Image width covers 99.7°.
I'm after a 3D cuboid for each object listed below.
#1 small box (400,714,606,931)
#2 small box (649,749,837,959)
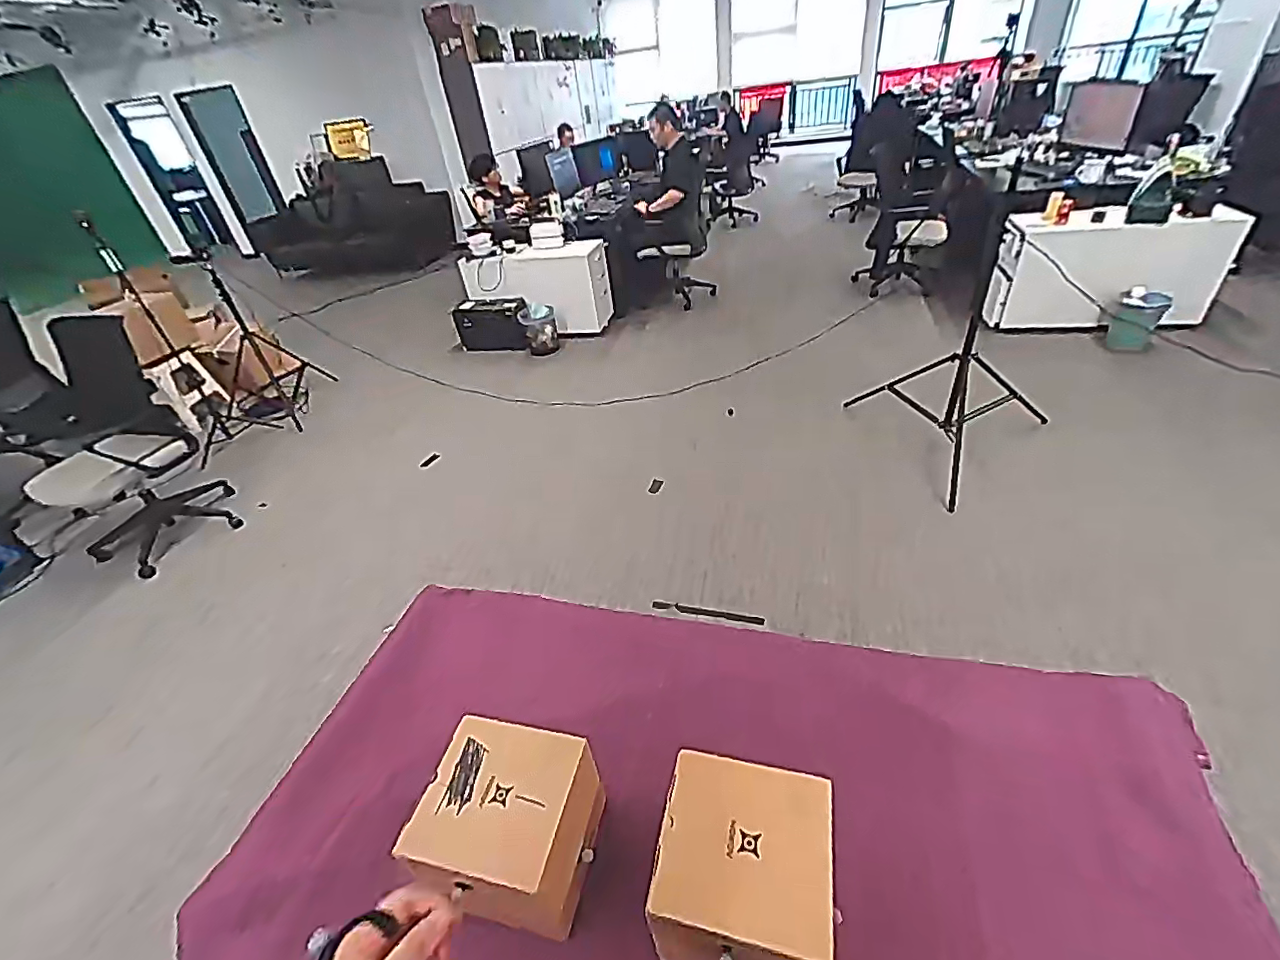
[{"bbox_3d":[-0.155,0.427,0.679,0.179,0.176,0.168,4,38,15],"label":"small box"},{"bbox_3d":[0.122,0.440,0.611,0.179,0.176,0.168,3,38,16],"label":"small box"}]
